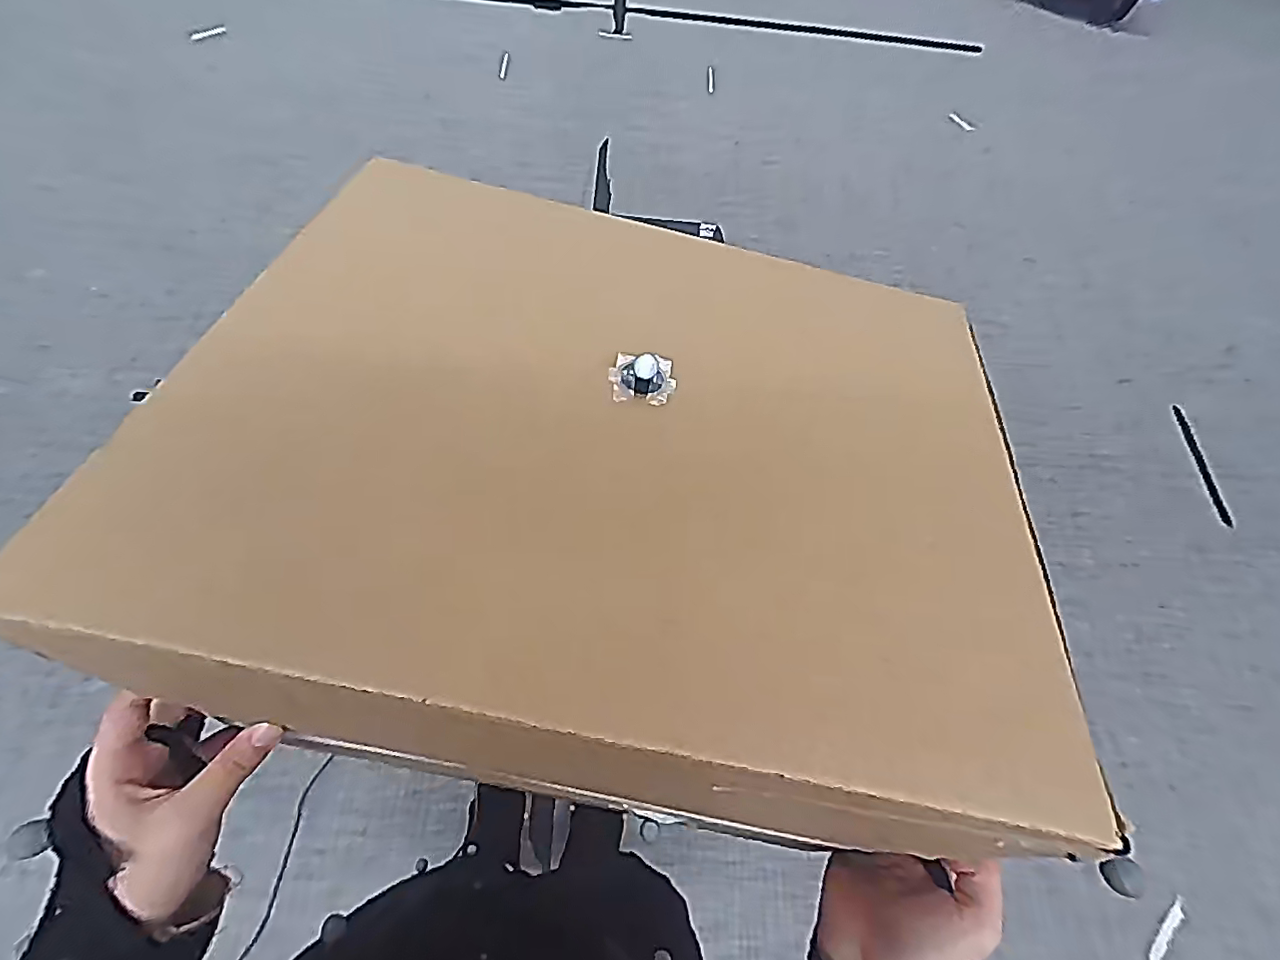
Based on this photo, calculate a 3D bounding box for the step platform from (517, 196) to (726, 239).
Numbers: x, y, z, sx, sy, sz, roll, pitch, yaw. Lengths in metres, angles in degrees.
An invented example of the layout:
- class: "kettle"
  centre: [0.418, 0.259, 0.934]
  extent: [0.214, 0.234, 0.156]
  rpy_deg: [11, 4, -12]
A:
- class: "step platform"
  centre: [-0.088, -0.611, 1.575]
  extent: [0.684, 0.204, 0.286]
  rpy_deg: [9, 67, -2]

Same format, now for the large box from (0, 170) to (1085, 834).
- class: "large box"
  centre: [-0.036, 0.036, 0.391]
  extent: [0.408, 0.320, 0.320]
  rpy_deg: [11, 58, -2]
